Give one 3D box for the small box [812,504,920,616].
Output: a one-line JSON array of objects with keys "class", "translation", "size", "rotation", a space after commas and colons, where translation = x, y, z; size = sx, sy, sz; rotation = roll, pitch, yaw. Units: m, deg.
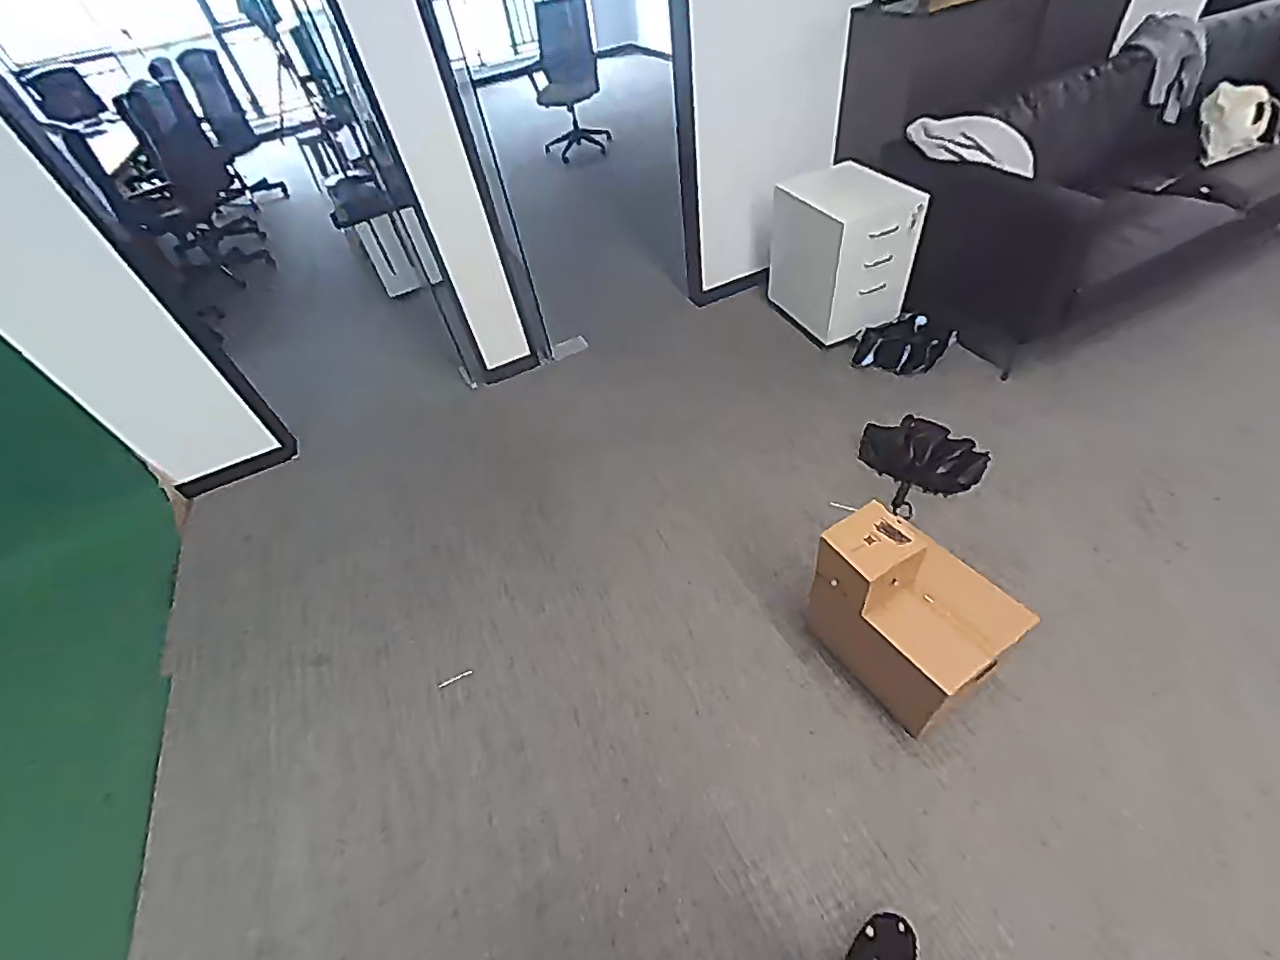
[{"class": "small box", "translation": [0.541, 0.198, 1.322], "size": [0.179, 0.176, 0.168], "rotation": [-28, 49, -12]}]
